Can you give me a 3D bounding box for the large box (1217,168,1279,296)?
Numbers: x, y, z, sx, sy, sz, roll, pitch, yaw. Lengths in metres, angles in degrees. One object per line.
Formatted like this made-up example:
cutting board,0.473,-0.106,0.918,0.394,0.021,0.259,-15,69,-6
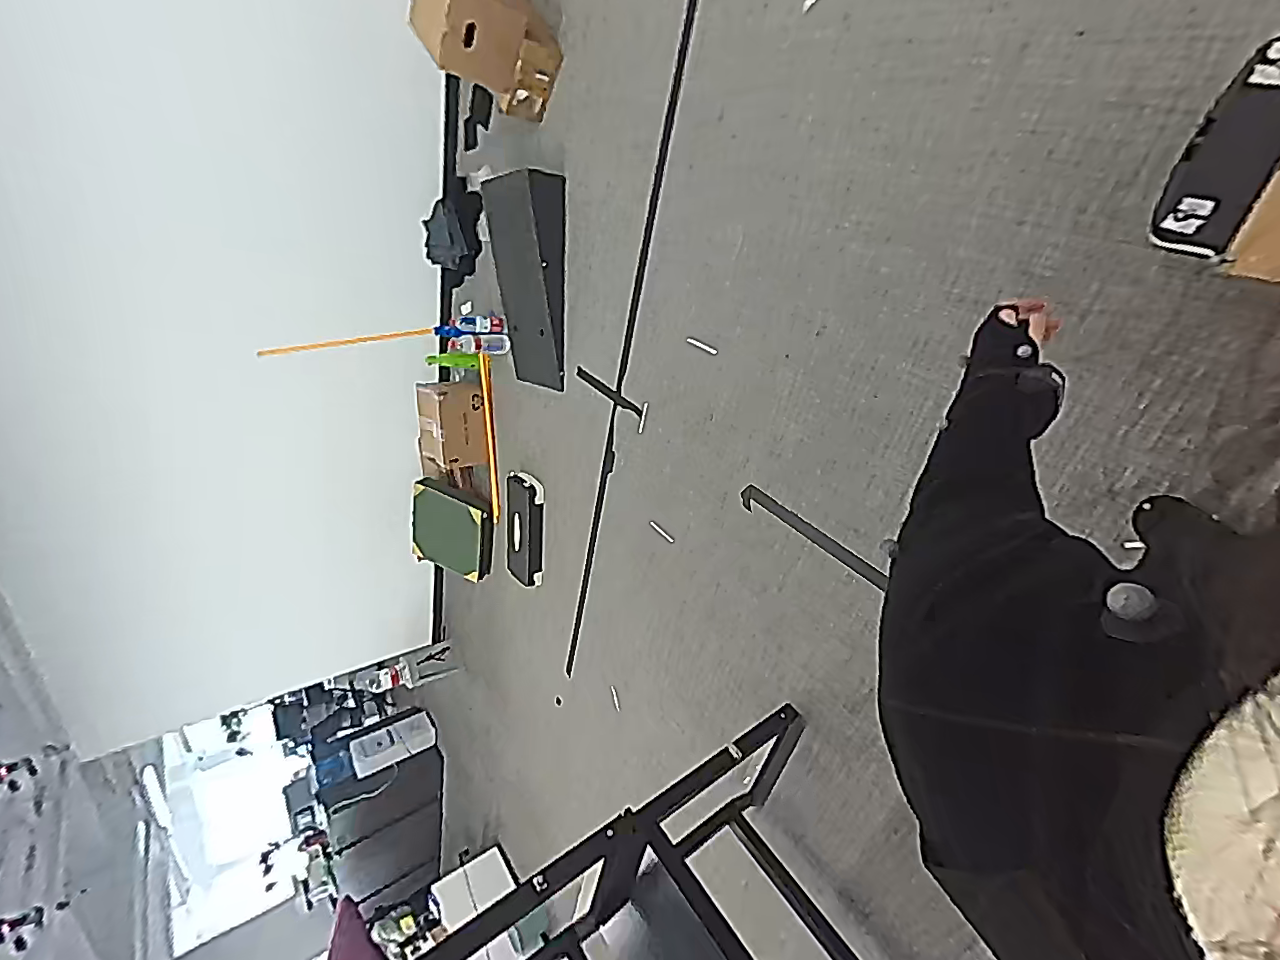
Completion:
large box,0.958,-0.315,0.545,0.408,0.320,0.320,37,125,42
